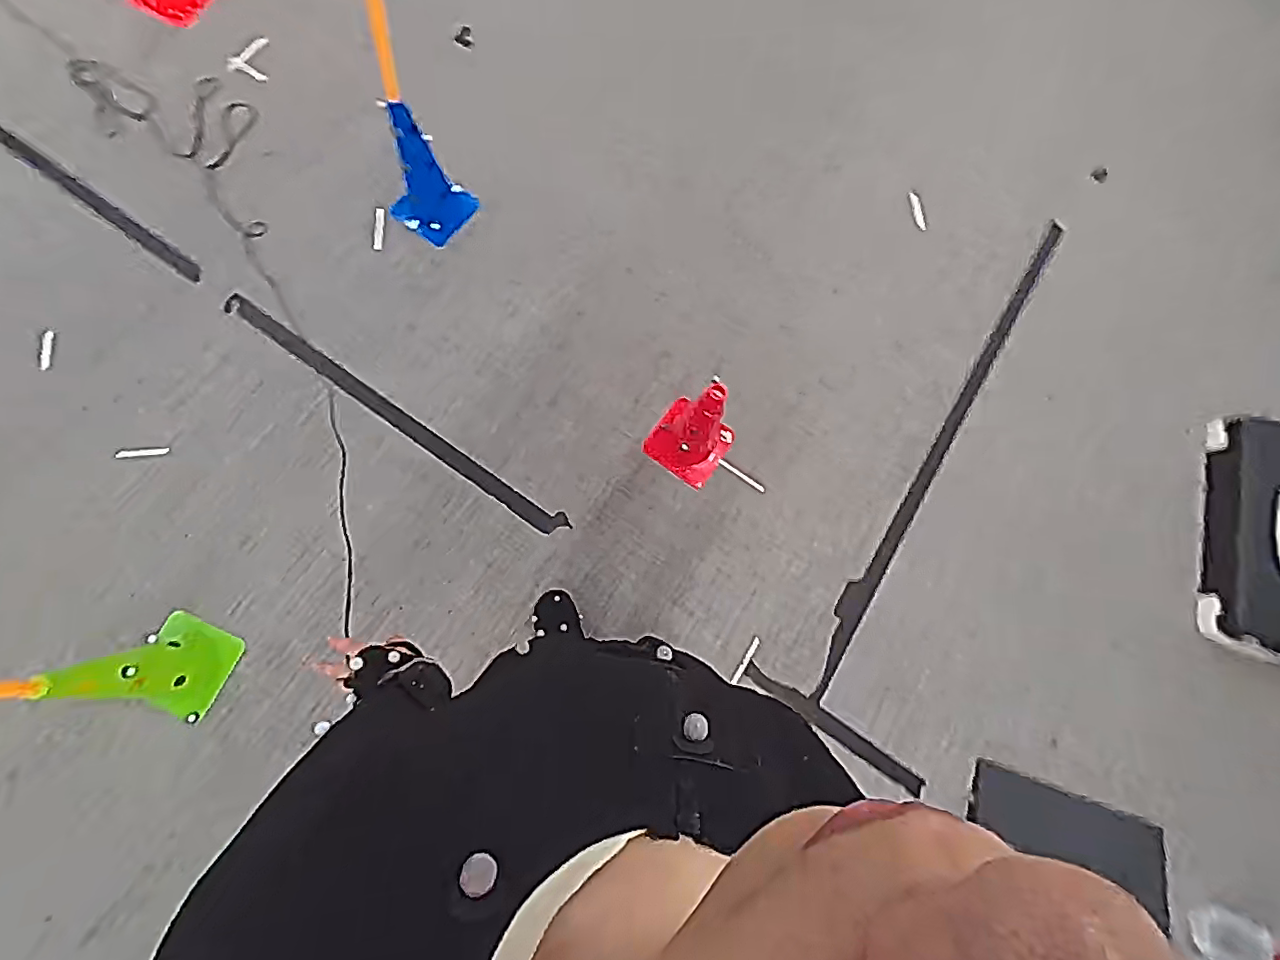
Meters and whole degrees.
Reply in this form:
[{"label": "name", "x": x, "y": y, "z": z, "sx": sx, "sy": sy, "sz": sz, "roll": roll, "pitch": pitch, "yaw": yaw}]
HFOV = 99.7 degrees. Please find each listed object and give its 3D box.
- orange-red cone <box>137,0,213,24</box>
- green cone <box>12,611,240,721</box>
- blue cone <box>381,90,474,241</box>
[{"label": "orange-red cone", "x": -1.436, "y": -1.568, "z": 1.534, "sx": 0.198, "sy": 0.360, "sz": 0.199, "roll": 29, "pitch": 77, "yaw": 3}, {"label": "green cone", "x": -1.056, "y": 0.389, "z": 1.095, "sx": 0.202, "sy": 0.368, "sz": 0.200, "roll": 24, "pitch": 75, "yaw": 3}, {"label": "blue cone", "x": -0.595, "y": -0.848, "z": 1.443, "sx": 0.192, "sy": 0.380, "sz": 0.193, "roll": 37, "pitch": 76, "yaw": 5}]
